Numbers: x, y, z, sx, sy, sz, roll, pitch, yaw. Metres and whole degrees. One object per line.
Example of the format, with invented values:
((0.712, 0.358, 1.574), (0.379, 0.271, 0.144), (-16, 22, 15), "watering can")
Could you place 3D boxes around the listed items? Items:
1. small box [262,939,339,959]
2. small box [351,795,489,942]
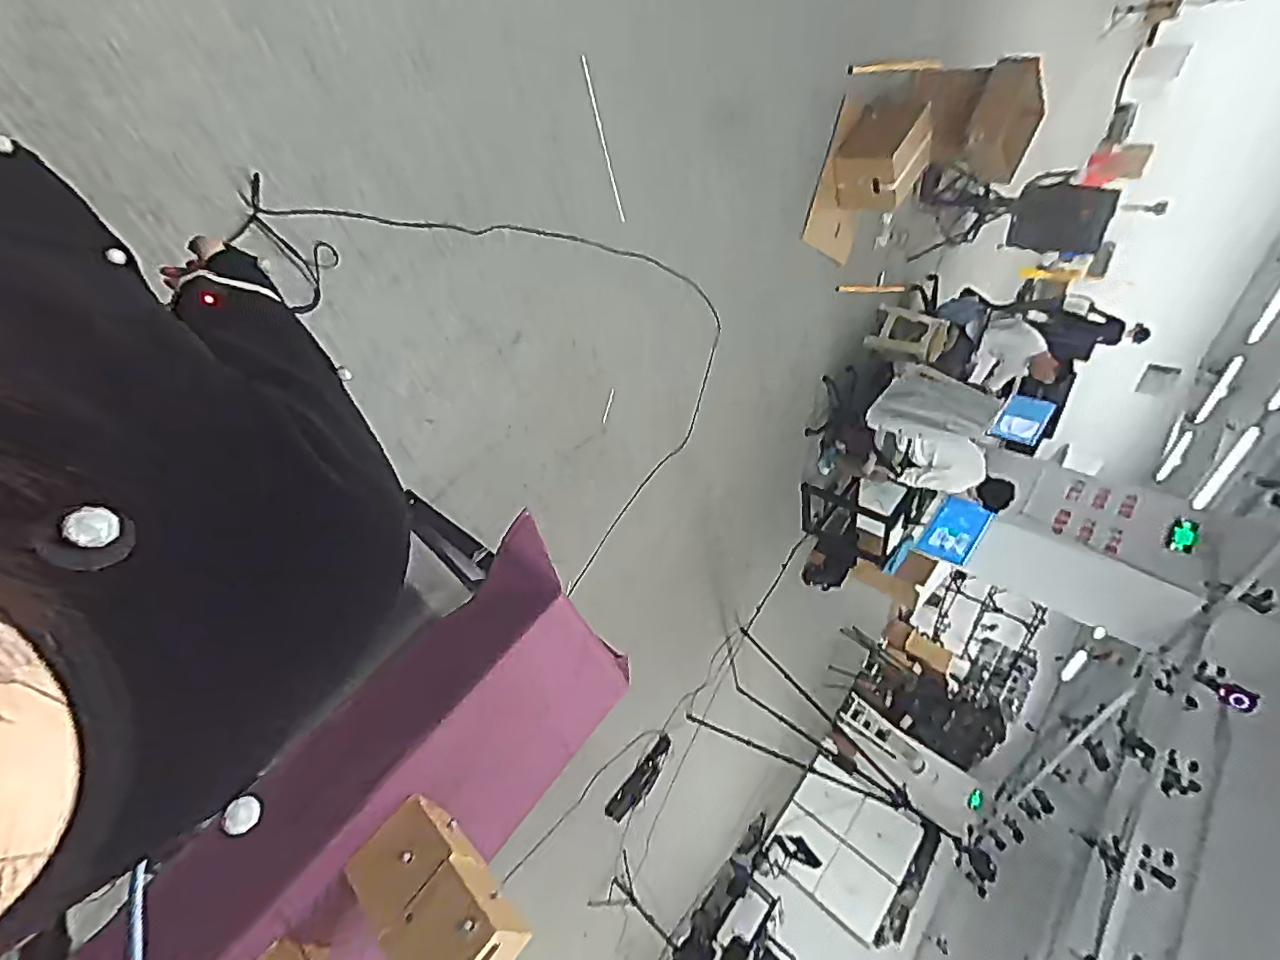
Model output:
((-0.656, 1.007, 1.004), (0.168, 0.176, 0.179), (-43, 139, -27), "small box")
((-0.456, 0.802, 1.127), (0.179, 0.176, 0.168), (-44, 140, -26), "small box")
